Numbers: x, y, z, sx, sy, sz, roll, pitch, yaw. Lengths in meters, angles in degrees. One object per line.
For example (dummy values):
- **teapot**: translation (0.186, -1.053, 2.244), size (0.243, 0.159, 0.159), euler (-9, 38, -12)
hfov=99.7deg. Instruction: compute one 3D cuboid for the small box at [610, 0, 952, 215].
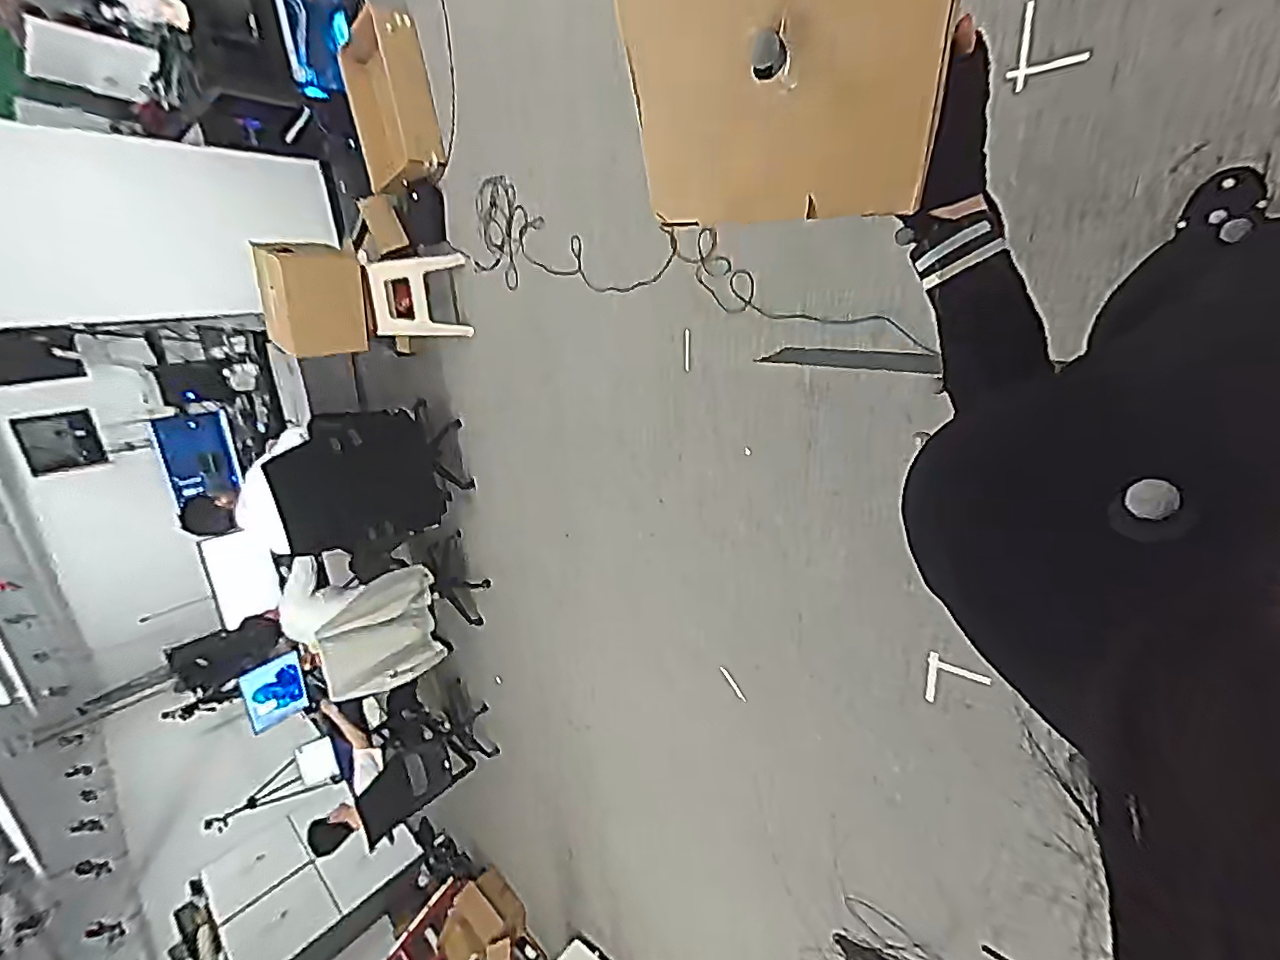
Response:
- **small box**: translation (0.090, -0.282, 0.318), size (0.168, 0.179, 0.176), euler (11, 142, 25)
